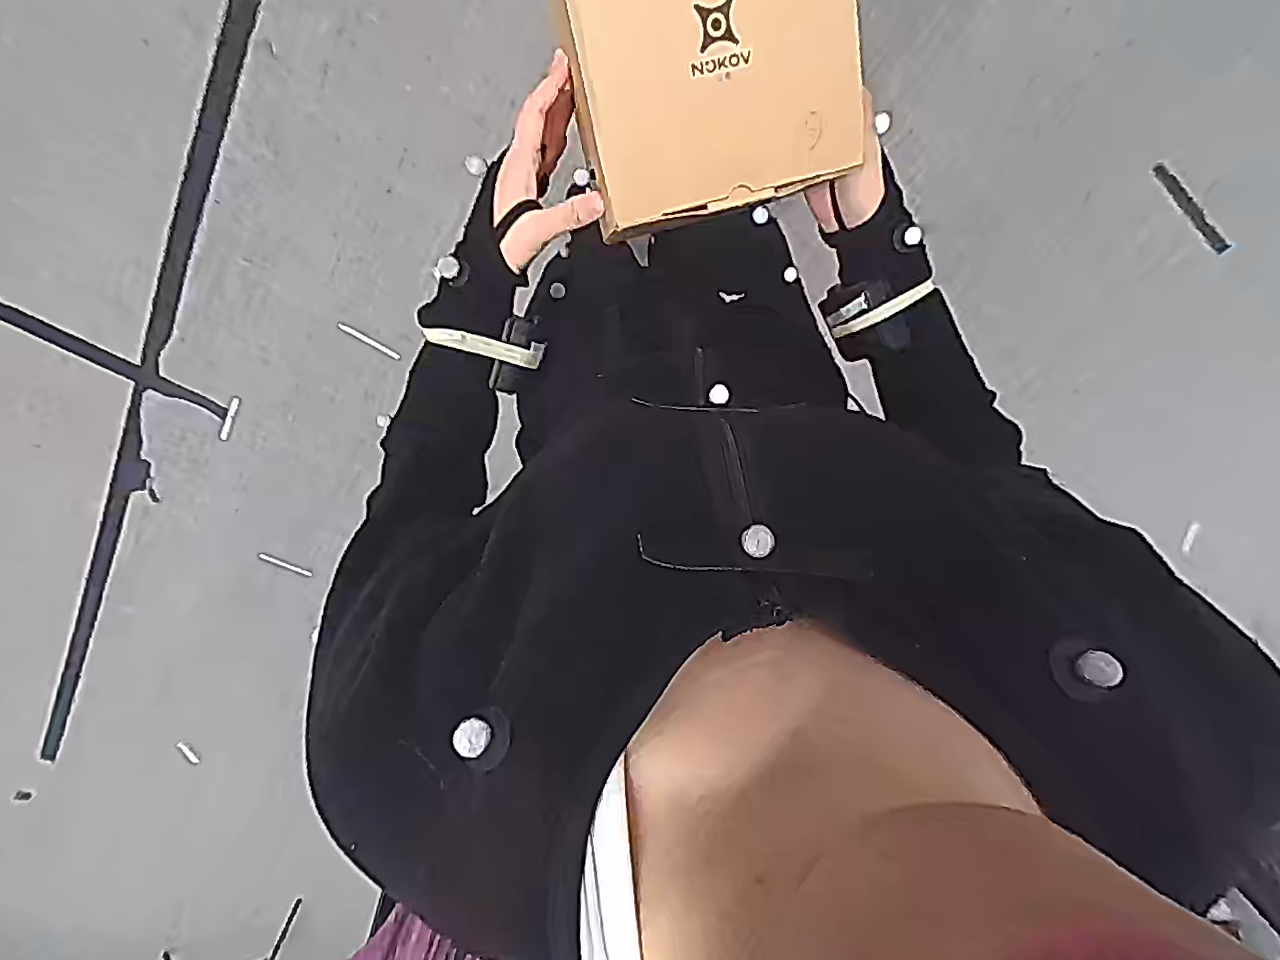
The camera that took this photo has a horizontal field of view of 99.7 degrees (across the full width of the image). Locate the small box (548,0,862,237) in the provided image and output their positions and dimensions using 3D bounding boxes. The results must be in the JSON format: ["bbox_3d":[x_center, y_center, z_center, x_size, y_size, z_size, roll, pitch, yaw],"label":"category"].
[{"bbox_3d":[0.035,-0.282,0.384,0.168,0.176,0.179,-15,111,-1],"label":"small box"}]
